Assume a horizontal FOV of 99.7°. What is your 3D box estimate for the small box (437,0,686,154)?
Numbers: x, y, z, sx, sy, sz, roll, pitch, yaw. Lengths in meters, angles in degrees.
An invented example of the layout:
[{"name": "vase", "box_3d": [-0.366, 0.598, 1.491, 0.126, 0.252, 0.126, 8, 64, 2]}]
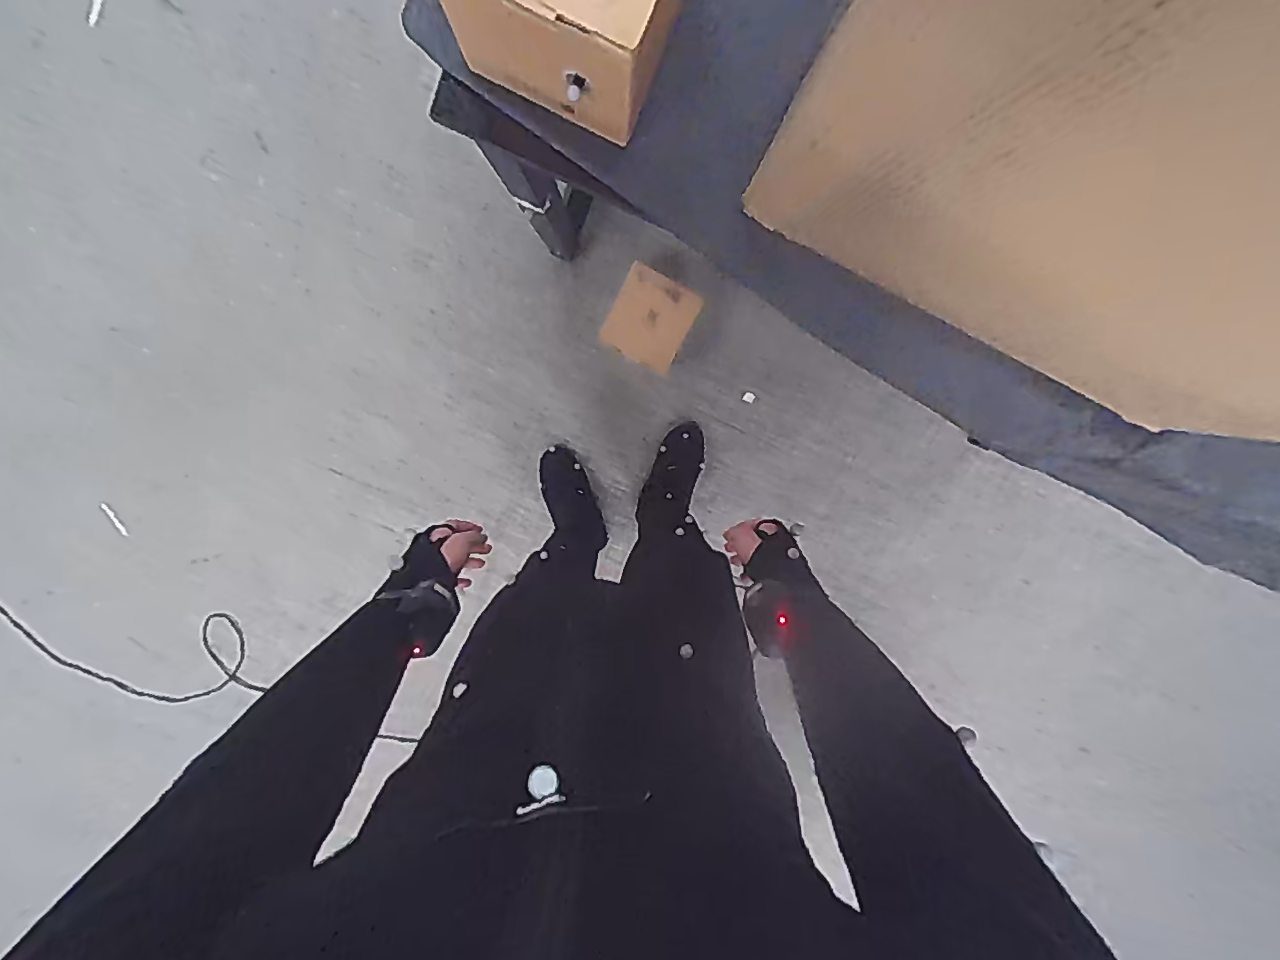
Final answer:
[{"name": "small box", "box_3d": [-0.051, -0.419, 0.455, 0.168, 0.176, 0.179, 21, 97, -9]}]
